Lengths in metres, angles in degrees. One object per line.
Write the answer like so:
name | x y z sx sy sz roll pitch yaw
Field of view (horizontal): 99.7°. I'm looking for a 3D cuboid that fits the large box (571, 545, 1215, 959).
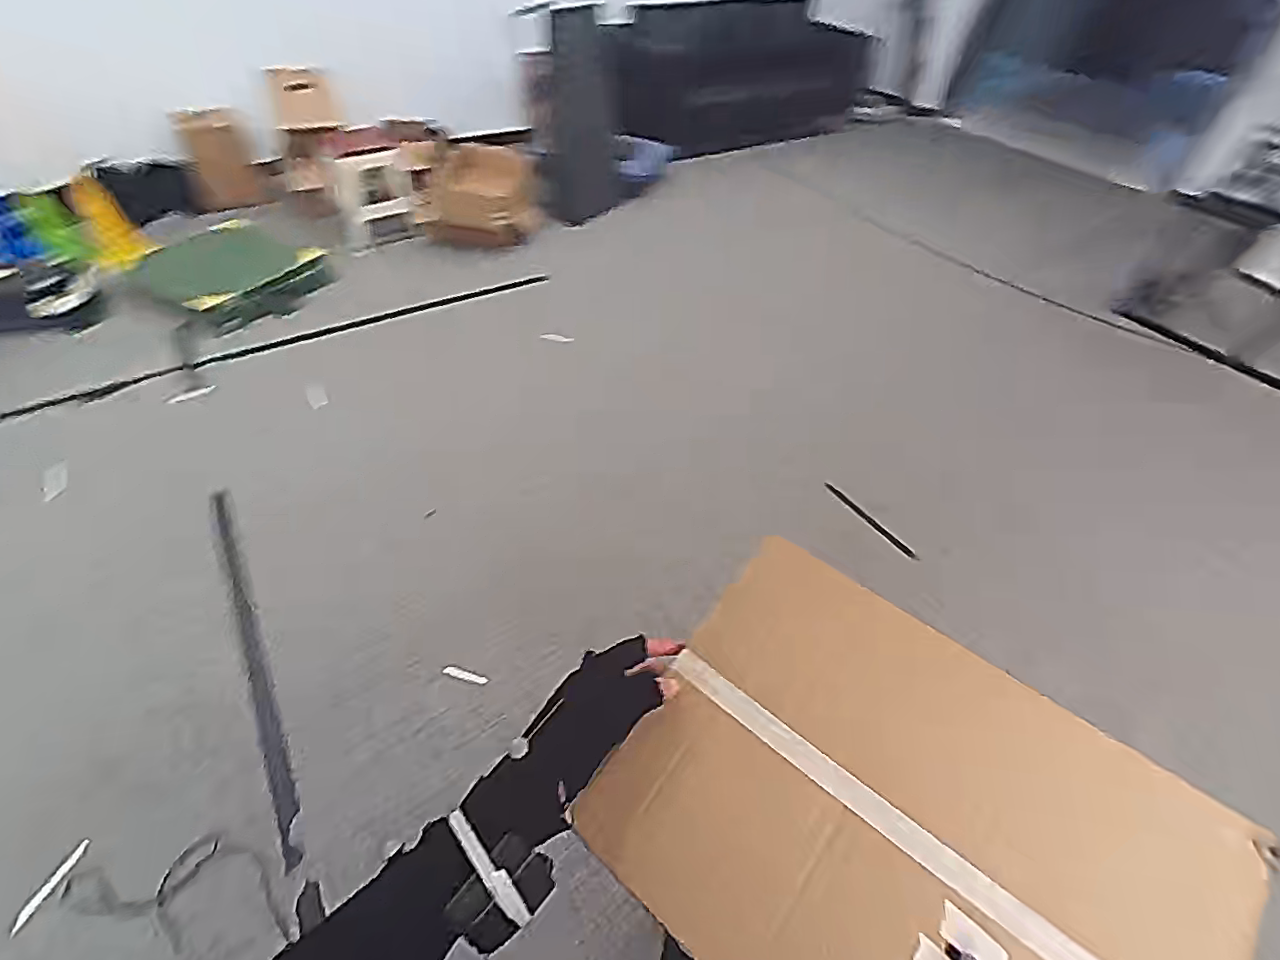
large box | 0.198 0.342 0.550 0.408 0.320 0.320 33 67 23
